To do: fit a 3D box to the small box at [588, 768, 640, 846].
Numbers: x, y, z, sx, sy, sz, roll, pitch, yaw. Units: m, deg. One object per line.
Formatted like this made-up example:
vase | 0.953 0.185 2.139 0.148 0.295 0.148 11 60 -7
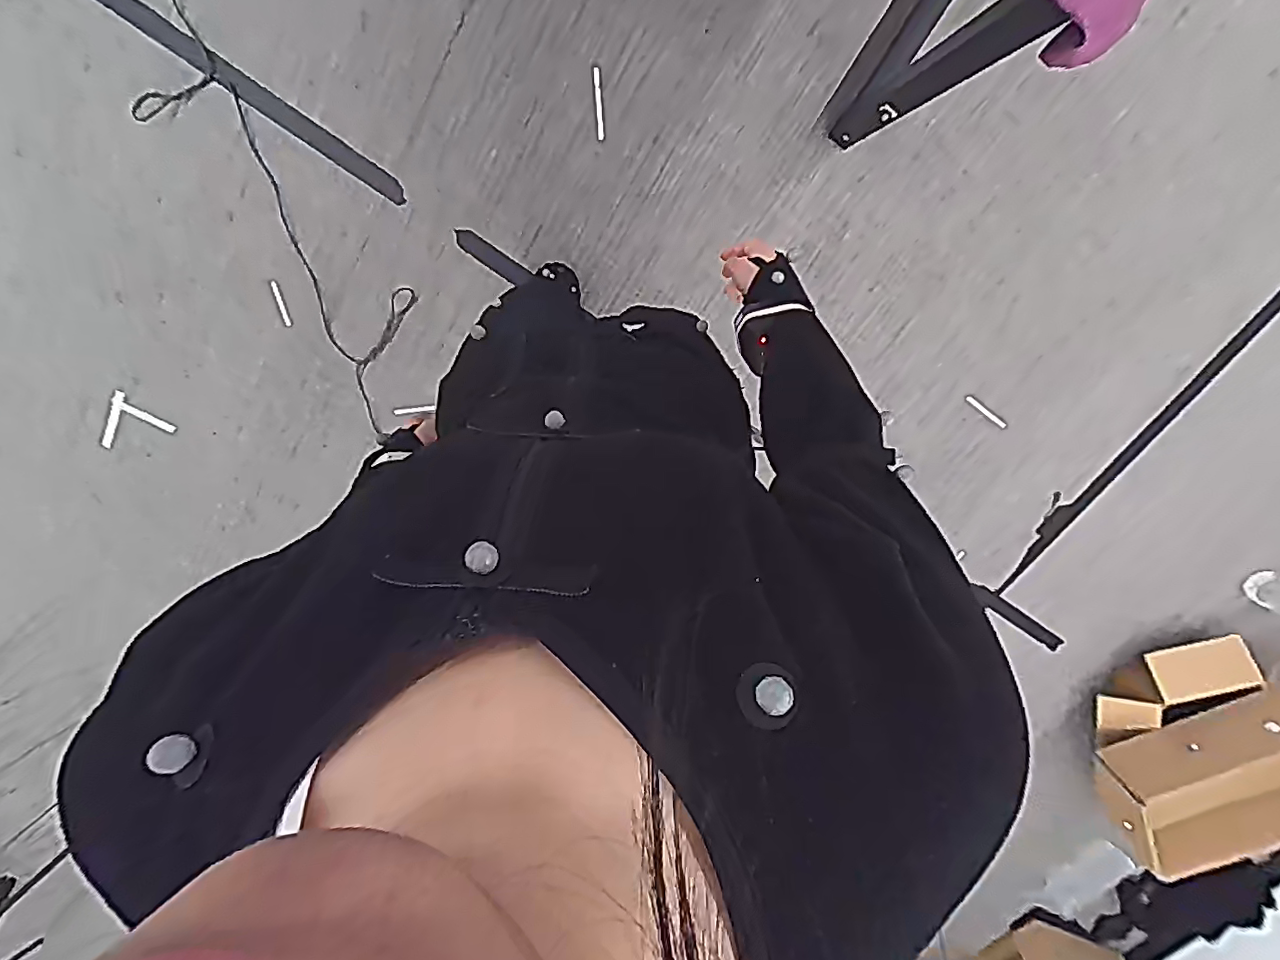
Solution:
small box | -0.089 1.135 1.888 0.168 0.176 0.179 -4 112 1
